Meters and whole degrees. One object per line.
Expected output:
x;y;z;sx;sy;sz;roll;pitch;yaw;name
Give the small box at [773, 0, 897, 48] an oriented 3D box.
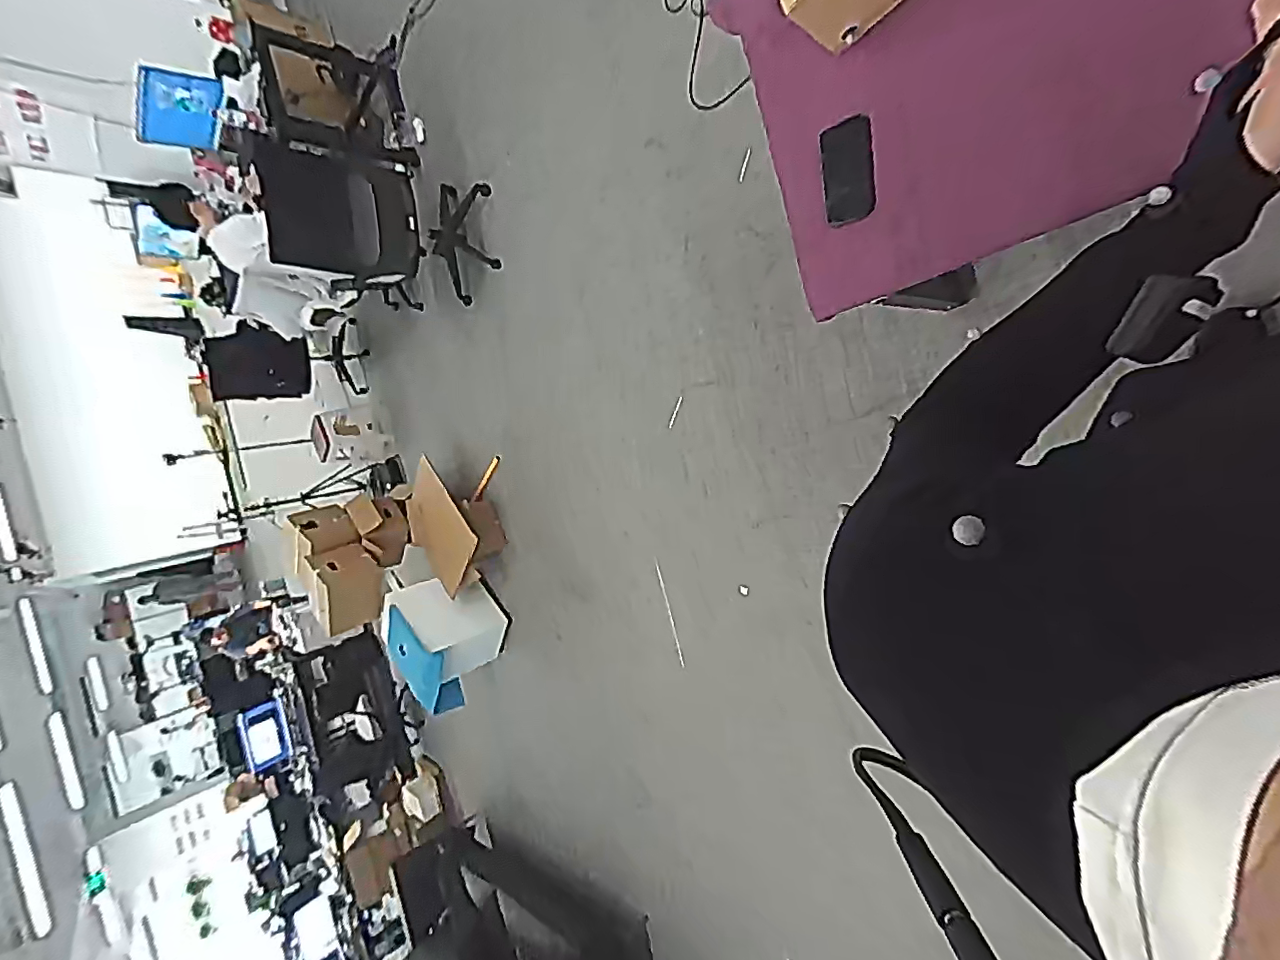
0.276;-0.745;0.741;0.168;0.176;0.179;-20;85;46;small box
